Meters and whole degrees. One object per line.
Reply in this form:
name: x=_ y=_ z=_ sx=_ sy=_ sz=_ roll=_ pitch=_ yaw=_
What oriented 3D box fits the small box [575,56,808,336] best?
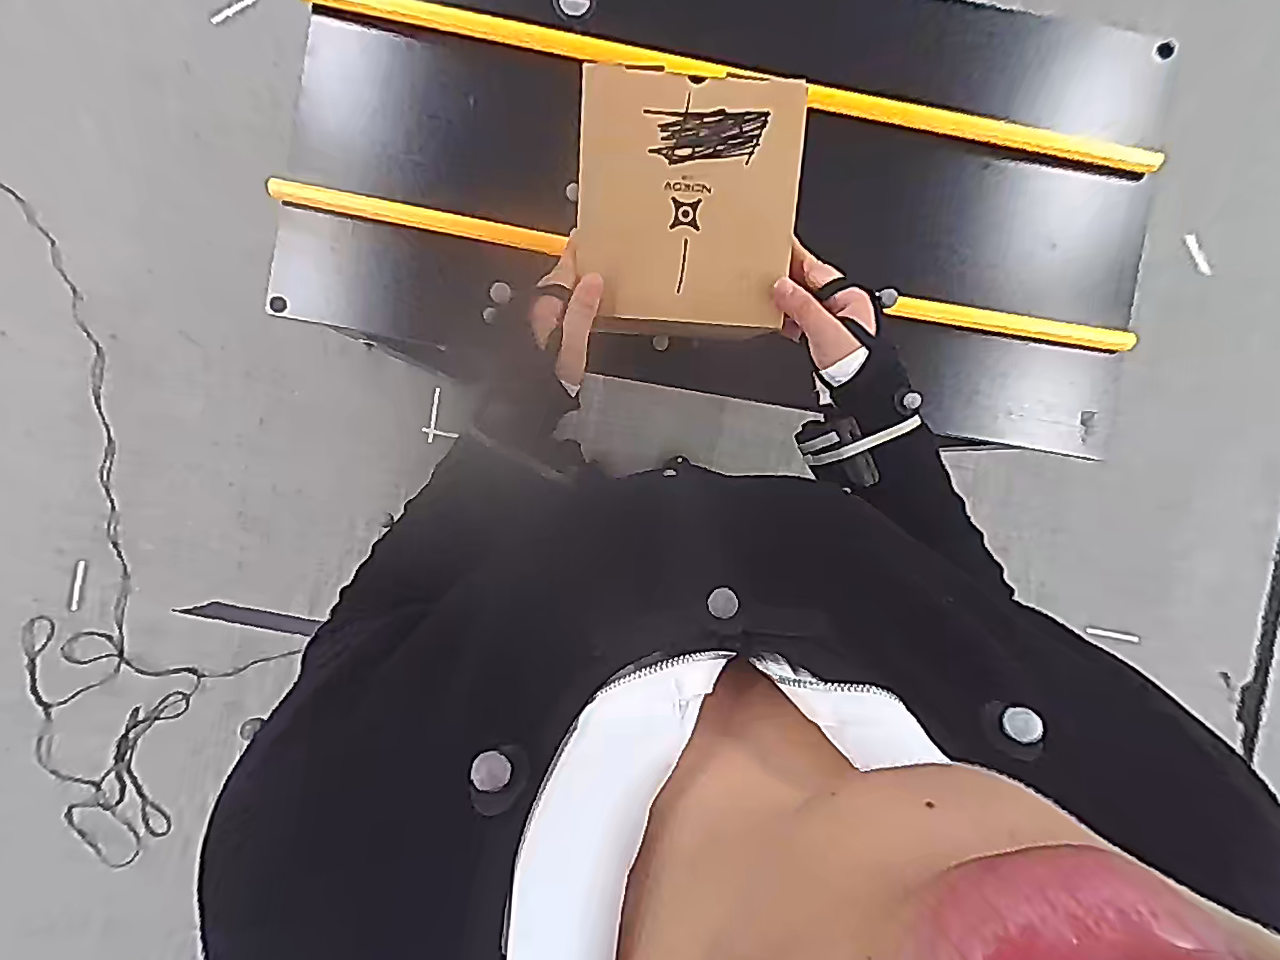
small box: x=0.033 y=-0.229 z=0.484 sx=0.168 sy=0.176 sz=0.179 roll=4 pitch=102 yaw=-2
